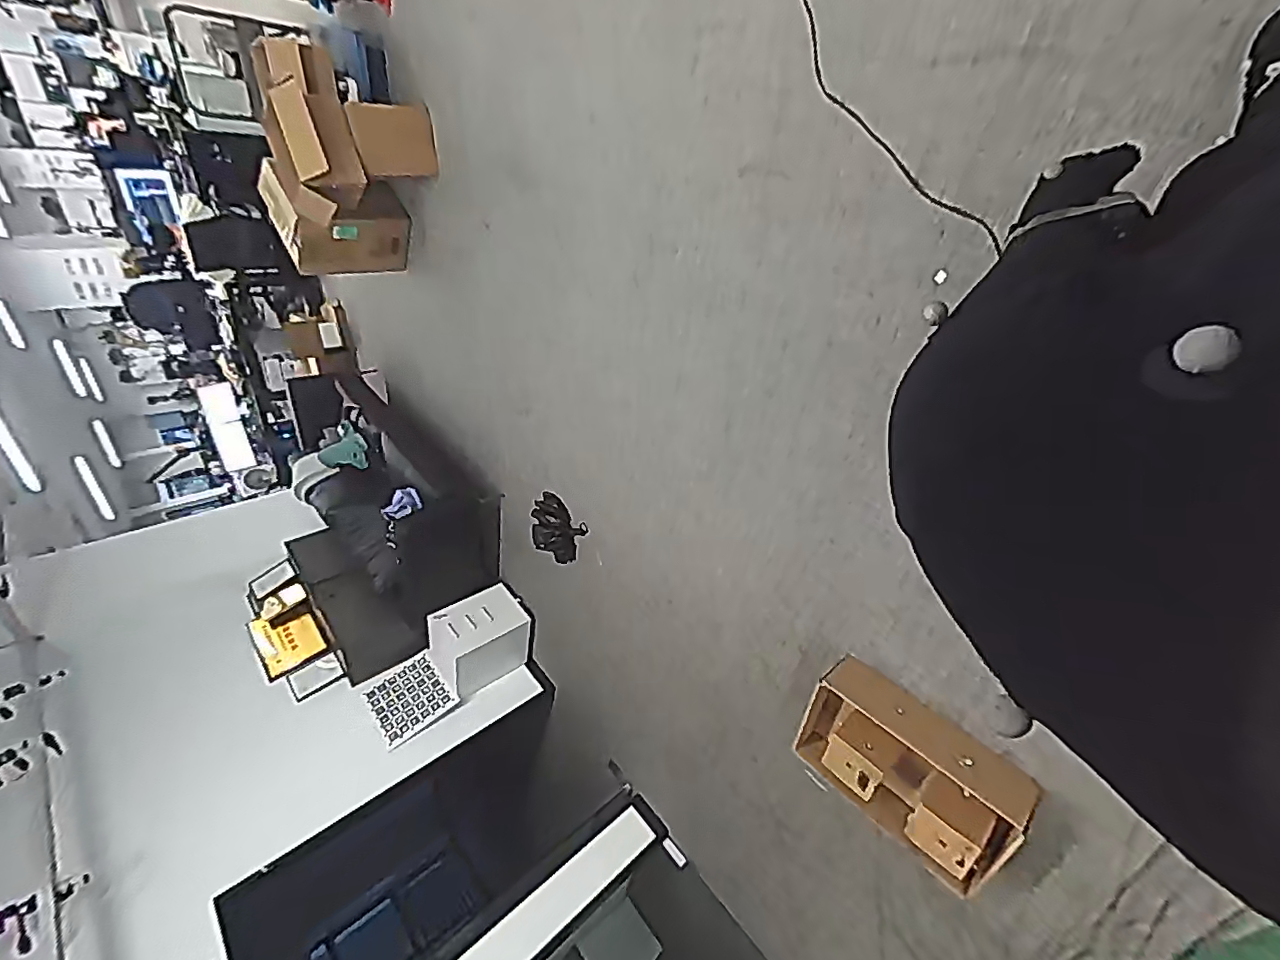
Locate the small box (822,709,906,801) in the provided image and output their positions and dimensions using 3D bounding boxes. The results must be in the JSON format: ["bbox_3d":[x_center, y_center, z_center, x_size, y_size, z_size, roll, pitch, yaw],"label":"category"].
[{"bbox_3d":[0.737,0.893,1.771,0.179,0.176,0.168,34,131,36],"label":"small box"}]

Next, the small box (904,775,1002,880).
[{"bbox_3d":[0.926,1.013,1.601,0.179,0.176,0.168,31,130,40],"label":"small box"}]
